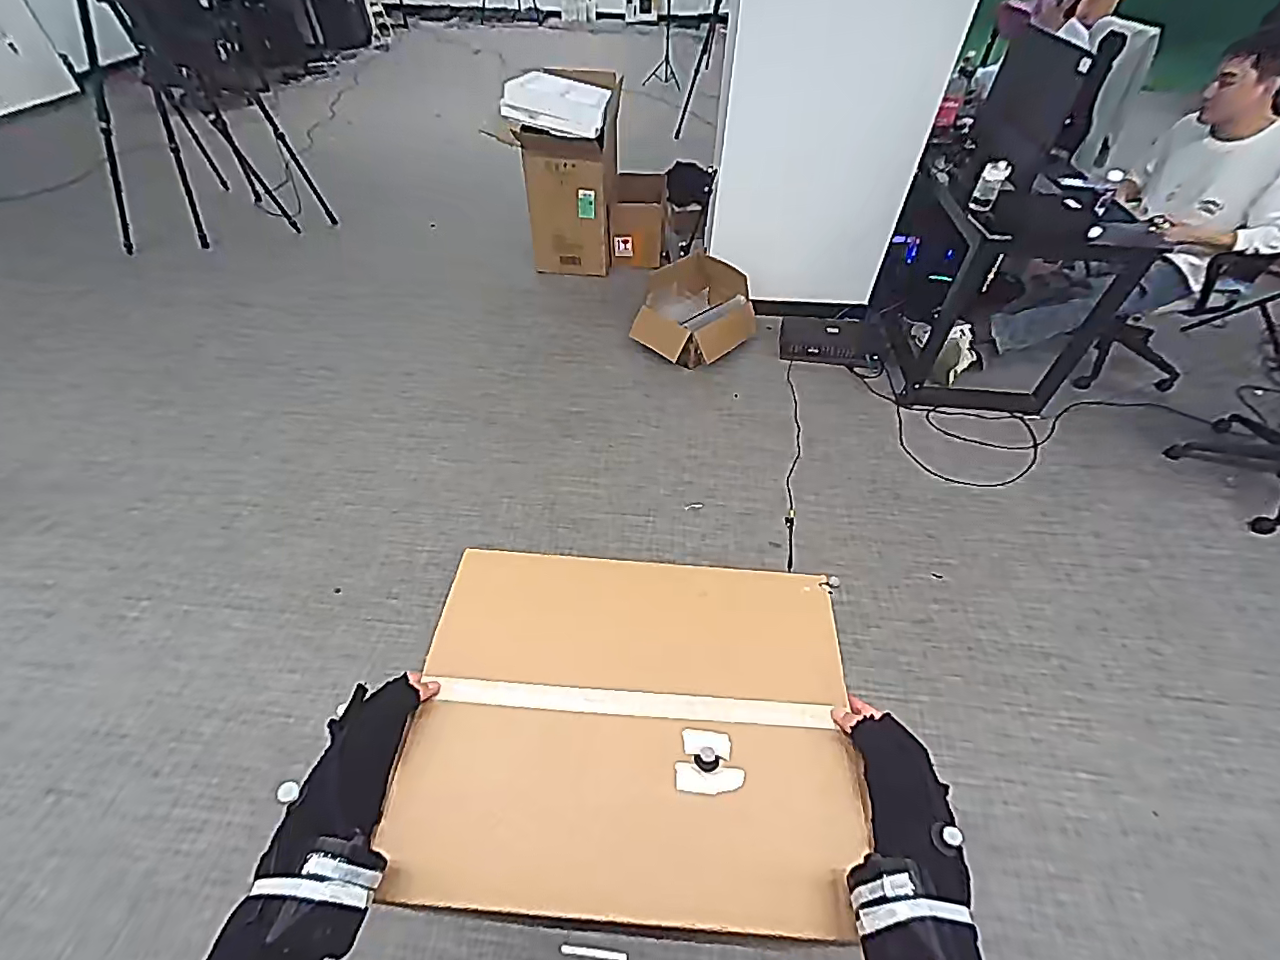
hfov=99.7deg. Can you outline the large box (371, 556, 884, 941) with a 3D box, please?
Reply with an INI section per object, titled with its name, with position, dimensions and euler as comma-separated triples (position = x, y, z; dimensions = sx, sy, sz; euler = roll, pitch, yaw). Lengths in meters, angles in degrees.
[large box]
position = -0.010, 0.311, 0.620
dimensions = 0.408, 0.320, 0.320
euler = 5, 49, 1
